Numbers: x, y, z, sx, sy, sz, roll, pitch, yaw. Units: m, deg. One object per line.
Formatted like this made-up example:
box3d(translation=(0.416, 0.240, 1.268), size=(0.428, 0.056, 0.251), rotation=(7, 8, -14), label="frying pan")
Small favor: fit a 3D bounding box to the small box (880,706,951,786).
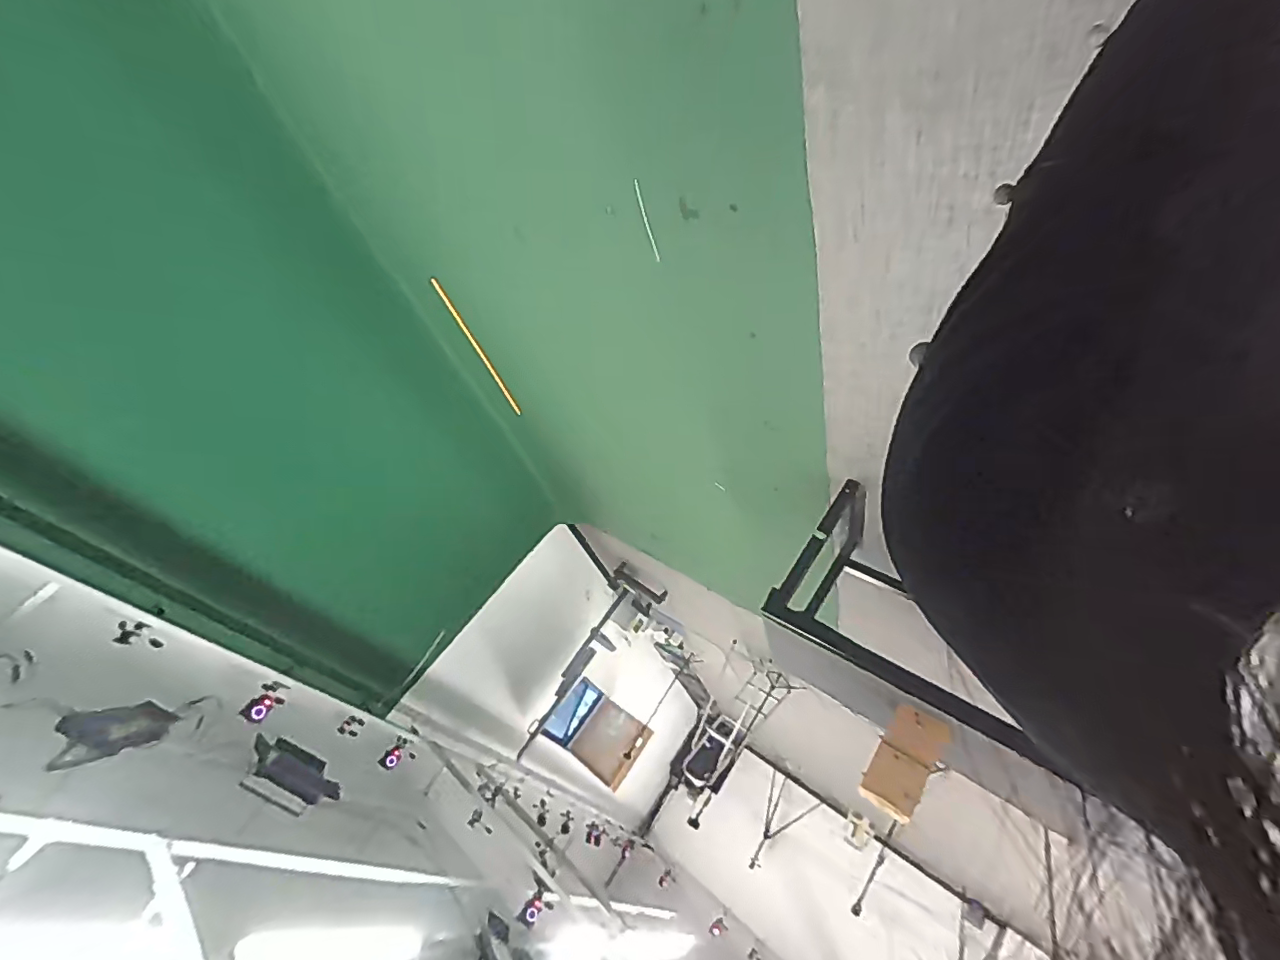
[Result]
box3d(translation=(0.952, 0.917, 1.870), size=(0.168, 0.176, 0.179), rotation=(25, 154, 33), label="small box")
